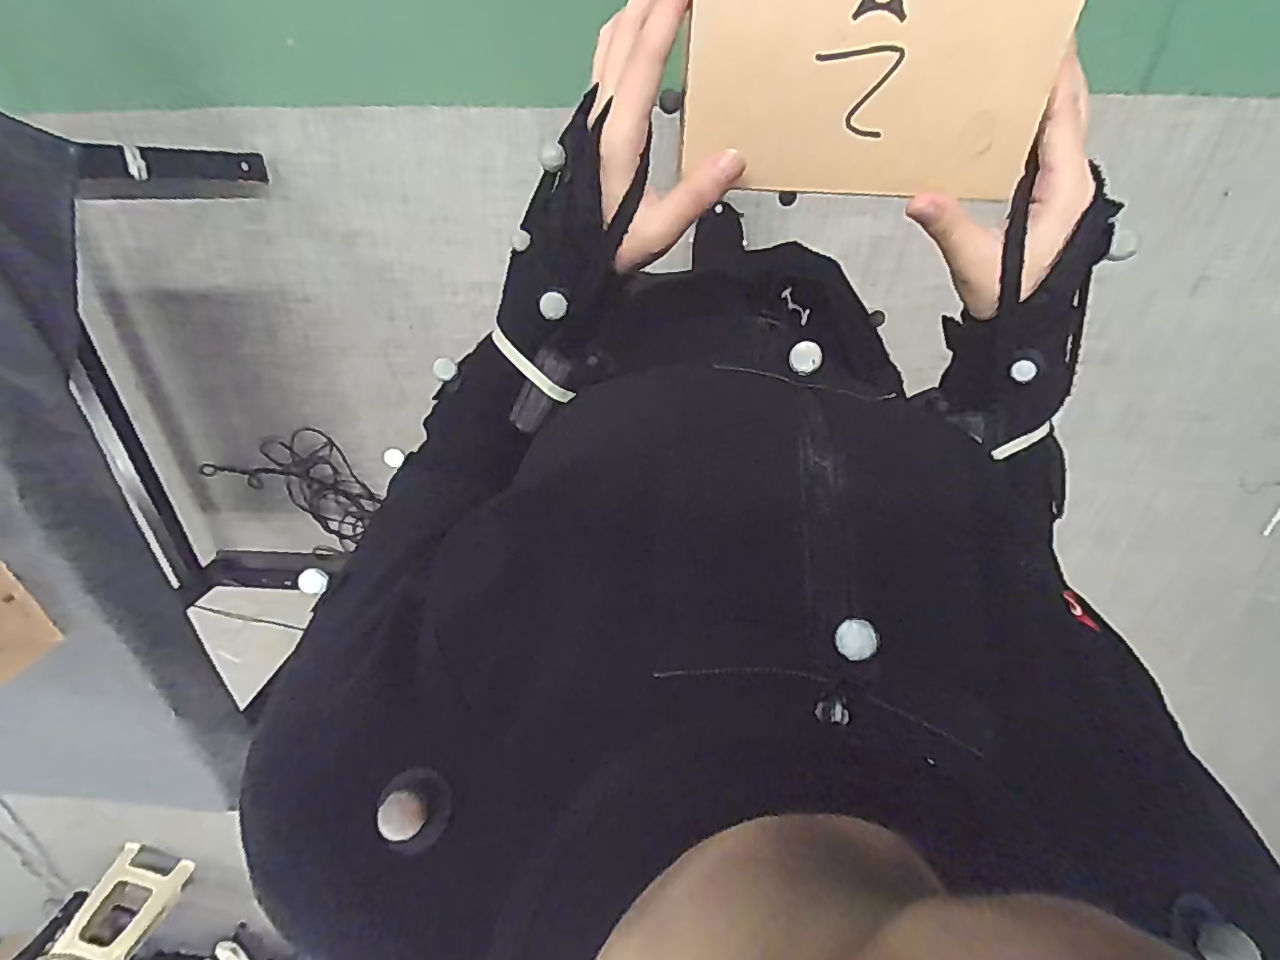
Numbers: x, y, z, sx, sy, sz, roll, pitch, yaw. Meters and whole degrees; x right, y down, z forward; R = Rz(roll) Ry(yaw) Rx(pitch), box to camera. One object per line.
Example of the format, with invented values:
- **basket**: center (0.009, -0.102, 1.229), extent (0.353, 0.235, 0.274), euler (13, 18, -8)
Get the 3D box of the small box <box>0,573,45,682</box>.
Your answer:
- **small box**: center (-1.035, 0.232, 0.775), extent (0.179, 0.176, 0.168), euler (-2, 119, 8)
